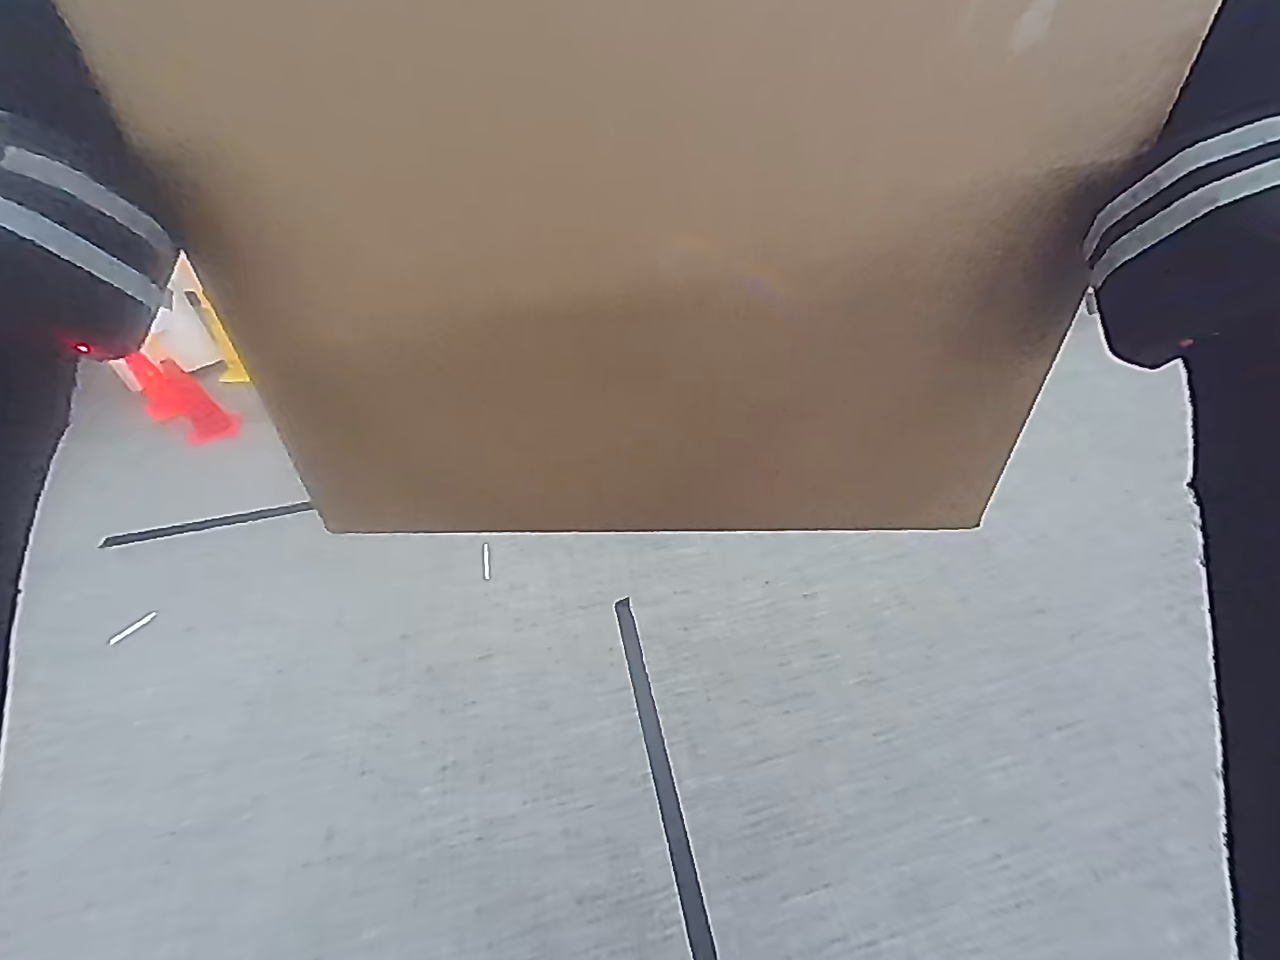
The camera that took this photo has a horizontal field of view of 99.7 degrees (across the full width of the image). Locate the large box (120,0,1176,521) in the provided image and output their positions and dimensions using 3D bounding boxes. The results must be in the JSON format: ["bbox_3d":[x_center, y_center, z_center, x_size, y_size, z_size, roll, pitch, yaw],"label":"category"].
[{"bbox_3d":[0.003,-0.183,0.376,0.408,0.320,0.320,0,37,1],"label":"large box"}]
